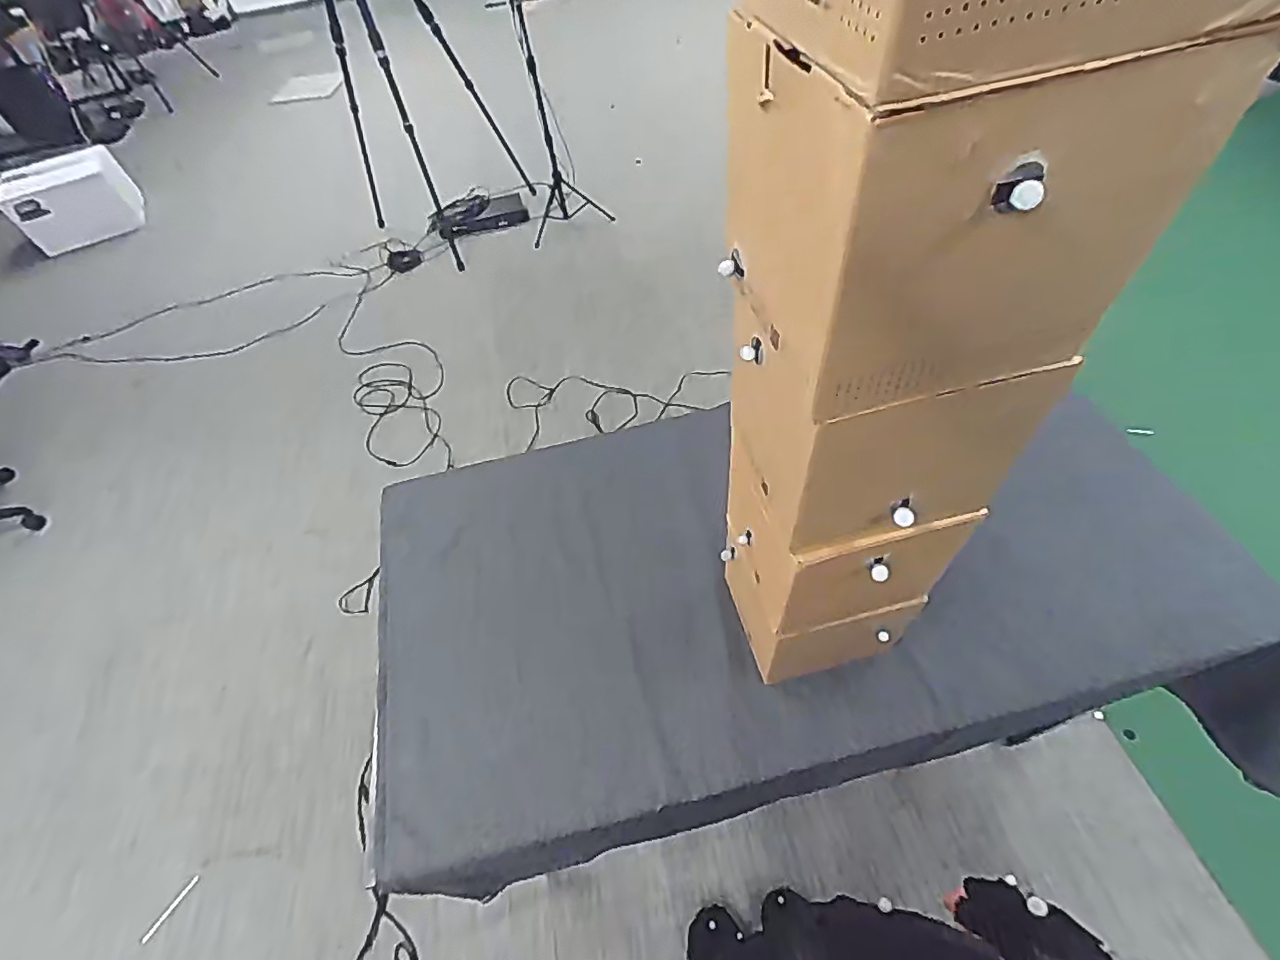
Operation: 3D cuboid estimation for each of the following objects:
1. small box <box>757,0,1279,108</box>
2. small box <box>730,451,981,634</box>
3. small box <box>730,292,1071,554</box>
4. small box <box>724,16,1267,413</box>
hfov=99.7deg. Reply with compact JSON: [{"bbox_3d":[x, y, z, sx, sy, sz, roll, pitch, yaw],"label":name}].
[{"bbox_3d":[0.142,-0.261,0.190,0.179,0.176,0.168,-13,53,-1],"label":"small box"},{"bbox_3d":[0.204,0.041,0.573,0.179,0.176,0.168,-15,52,-3],"label":"small box"},{"bbox_3d":[0.182,-0.061,0.447,0.179,0.176,0.168,-13,52,-2],"label":"small box"},{"bbox_3d":[0.157,-0.162,0.320,0.179,0.176,0.168,-14,53,-3],"label":"small box"}]
